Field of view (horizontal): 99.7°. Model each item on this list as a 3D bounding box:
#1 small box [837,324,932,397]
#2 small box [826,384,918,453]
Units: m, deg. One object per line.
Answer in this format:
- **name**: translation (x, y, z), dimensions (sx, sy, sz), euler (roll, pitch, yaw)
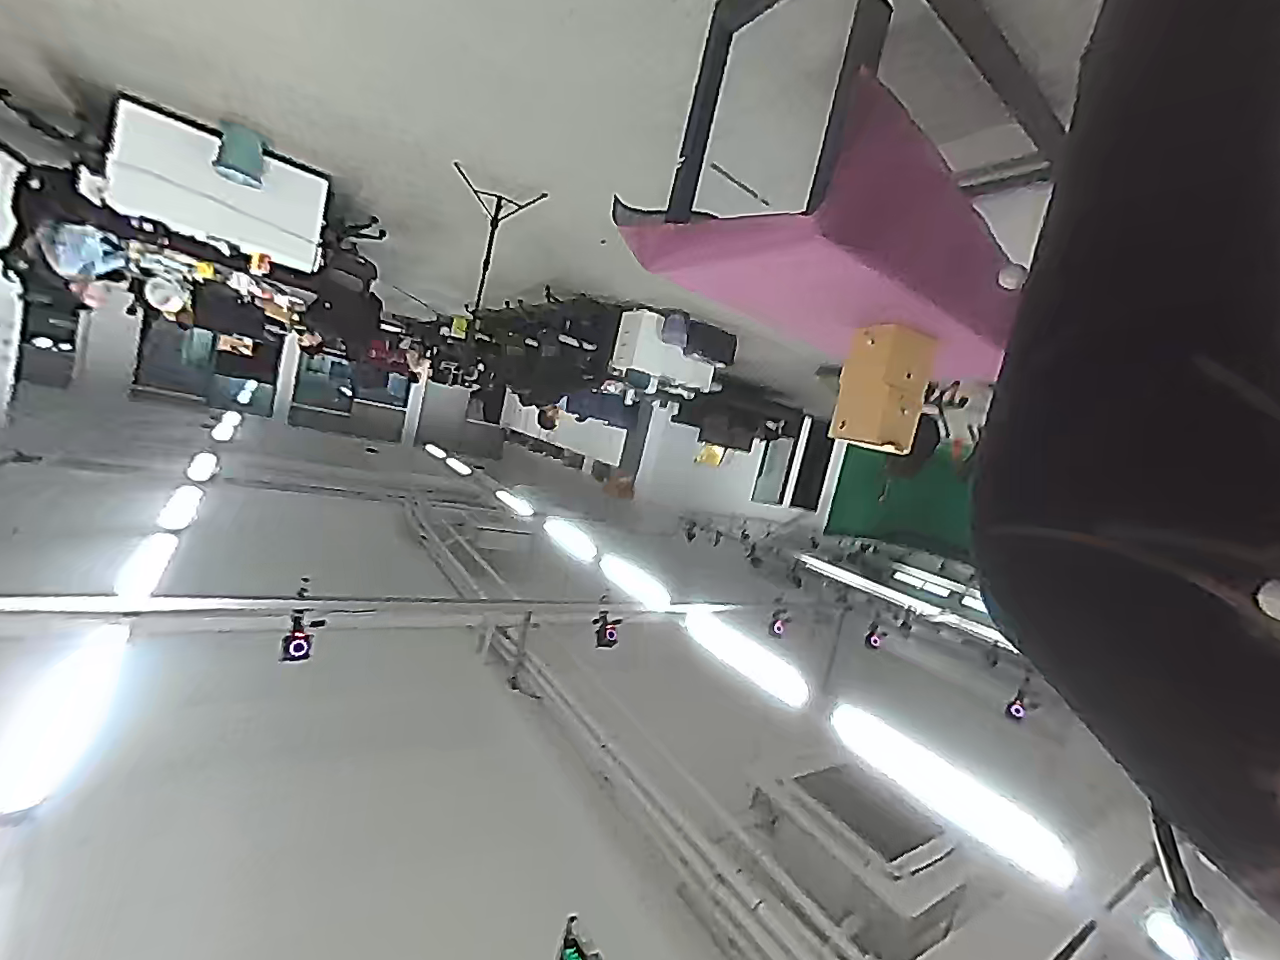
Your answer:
- **small box**: translation (0.721, -0.350, 1.588), dimensions (0.179, 0.176, 0.168), euler (12, -175, -25)
- **small box**: translation (0.696, -0.189, 1.621), dimensions (0.168, 0.176, 0.179), euler (10, -174, -31)
